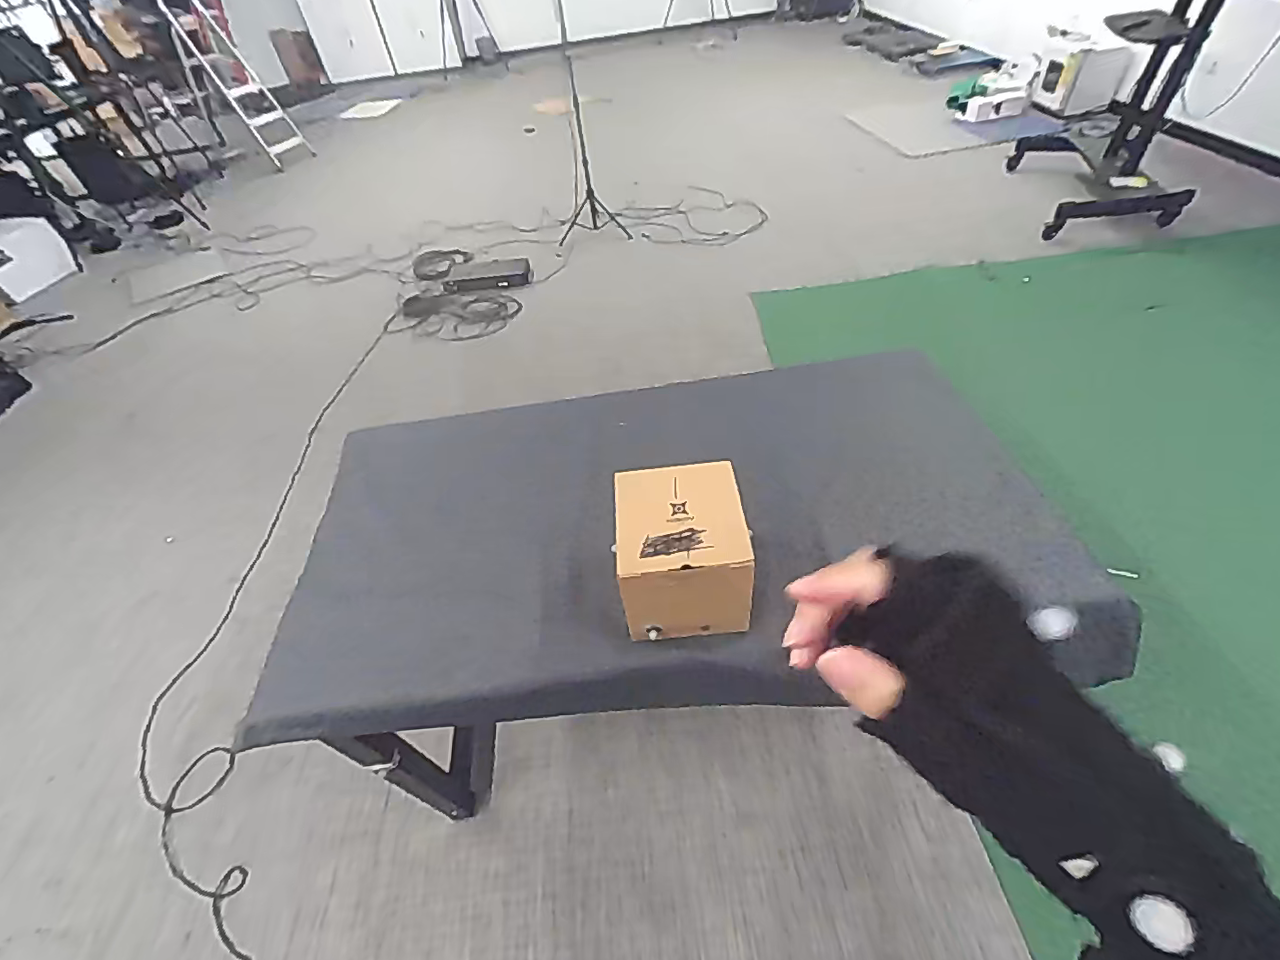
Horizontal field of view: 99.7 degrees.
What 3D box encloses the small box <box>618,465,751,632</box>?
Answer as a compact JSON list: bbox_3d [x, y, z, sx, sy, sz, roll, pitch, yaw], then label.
[{"bbox_3d":[0.061,0.103,0.767,0.168,0.176,0.179,-5,46,2],"label":"small box"}]
